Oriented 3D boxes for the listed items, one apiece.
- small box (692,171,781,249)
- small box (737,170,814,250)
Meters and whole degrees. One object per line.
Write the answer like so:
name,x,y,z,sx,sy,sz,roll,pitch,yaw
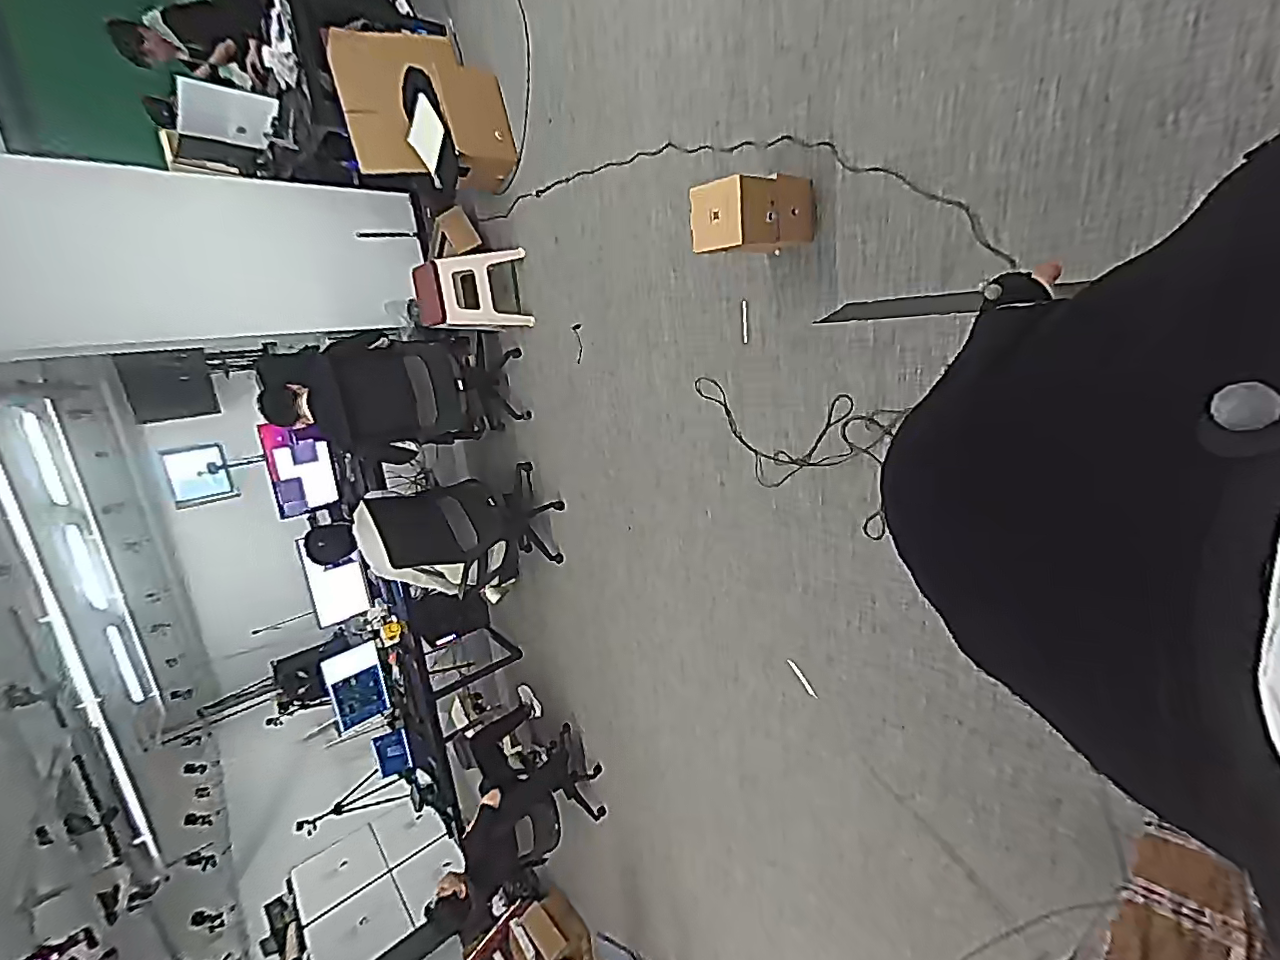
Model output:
small box,0.264,-0.728,1.475,0.179,0.176,0.168,13,117,47
small box,0.389,-0.773,1.570,0.168,0.176,0.179,11,114,49
